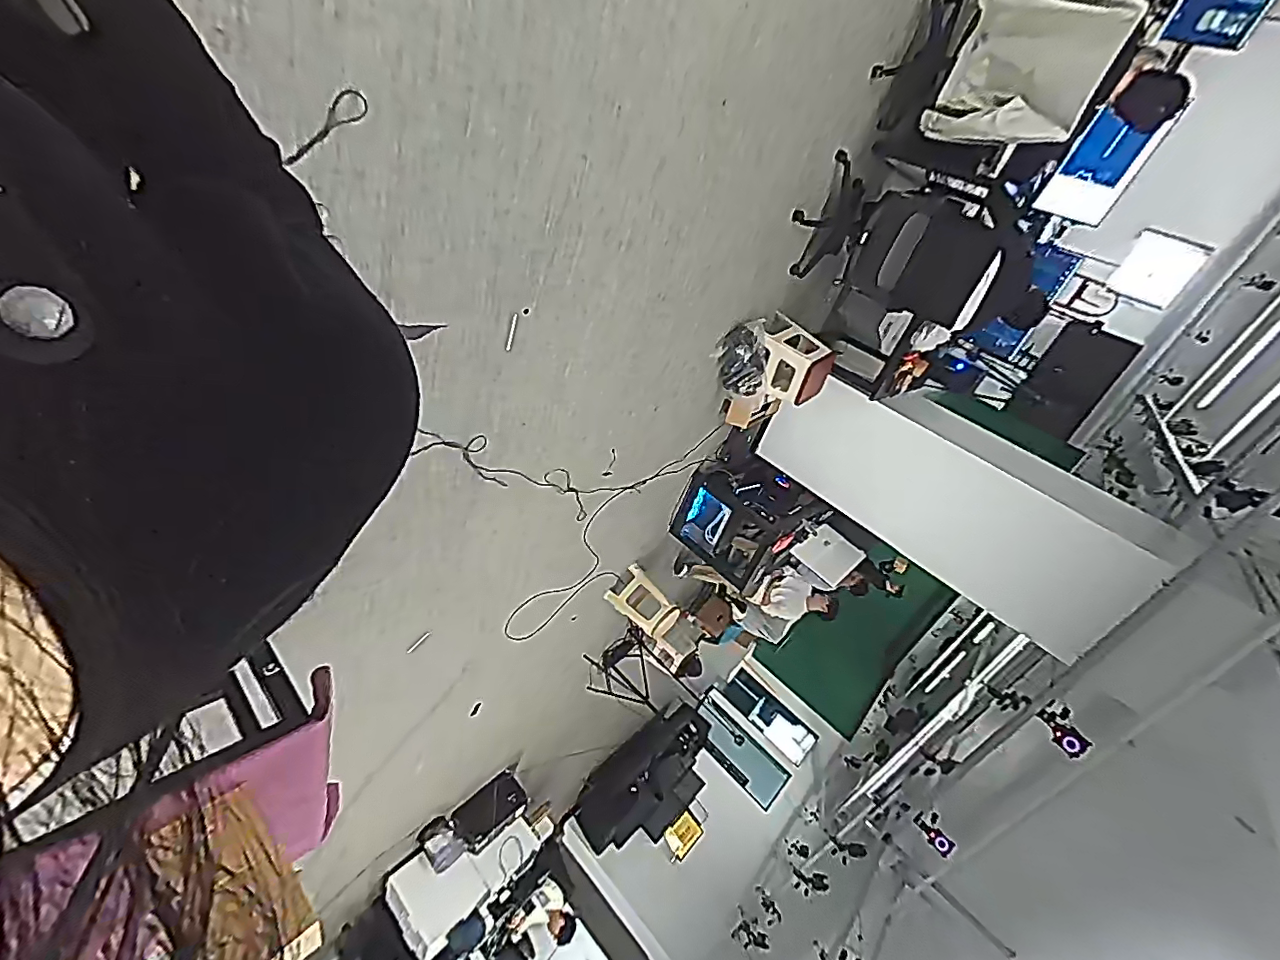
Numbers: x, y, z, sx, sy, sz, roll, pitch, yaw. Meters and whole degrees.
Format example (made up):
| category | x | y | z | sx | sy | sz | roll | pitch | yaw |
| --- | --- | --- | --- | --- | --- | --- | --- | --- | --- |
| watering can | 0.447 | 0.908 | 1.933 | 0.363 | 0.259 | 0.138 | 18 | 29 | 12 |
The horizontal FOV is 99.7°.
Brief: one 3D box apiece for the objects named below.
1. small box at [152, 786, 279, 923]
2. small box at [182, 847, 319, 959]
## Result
| category | x | y | z | sx | sy | sz | roll | pitch | yaw |
| --- | --- | --- | --- | --- | --- | --- | --- | --- | --- |
| small box | -0.871 | 0.783 | 1.121 | 0.168 | 0.176 | 0.179 | -22 | 141 | -47 |
| small box | -0.756 | 0.874 | 1.053 | 0.179 | 0.176 | 0.168 | -23 | 144 | -46 |
